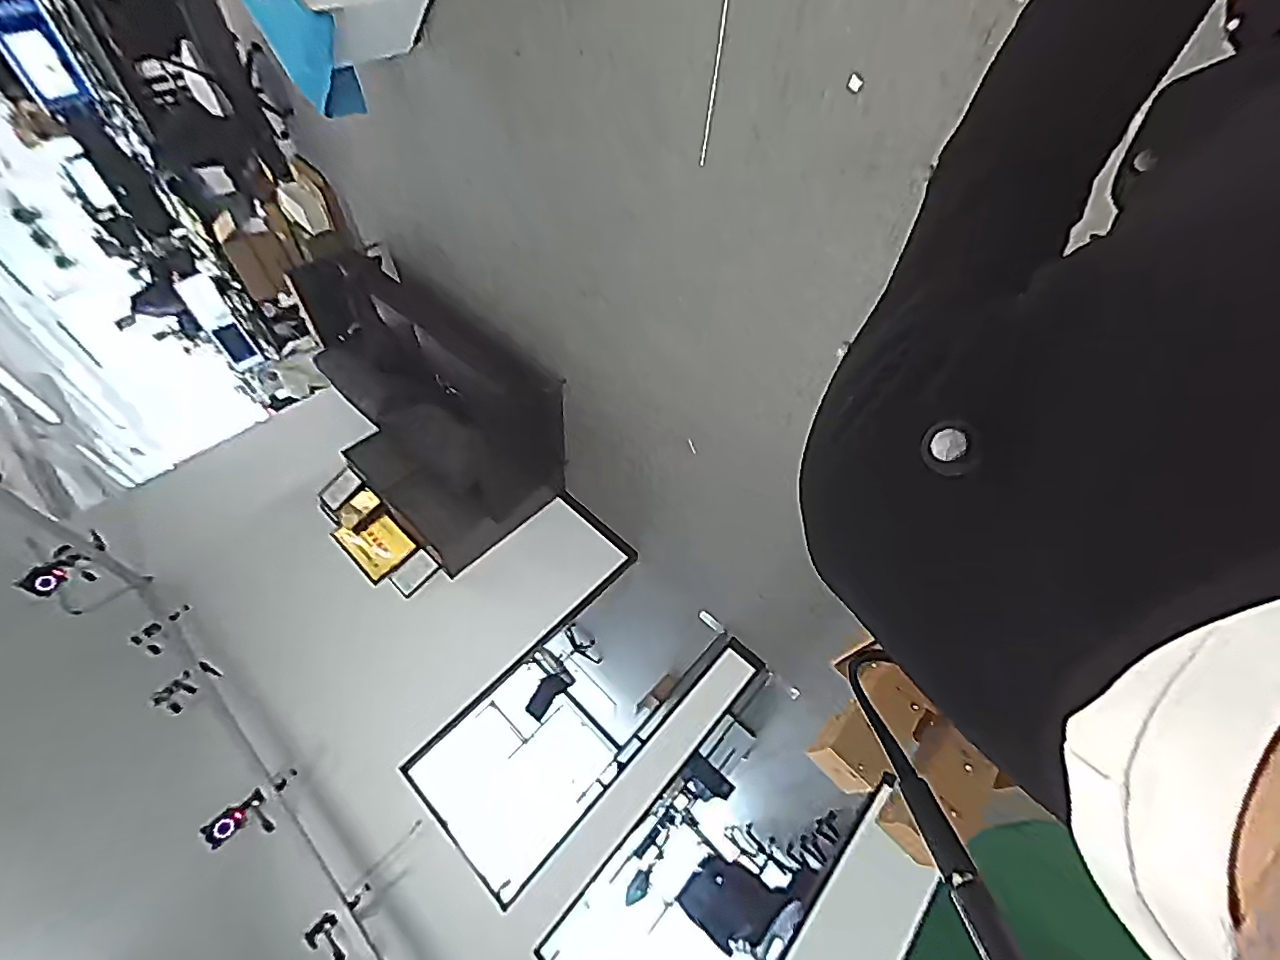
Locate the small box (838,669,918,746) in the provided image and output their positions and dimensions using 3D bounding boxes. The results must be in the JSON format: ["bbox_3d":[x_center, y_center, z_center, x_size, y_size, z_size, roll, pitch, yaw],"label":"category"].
[{"bbox_3d":[0.779,0.750,1.777,0.168,0.176,0.179,42,151,15],"label":"small box"}]

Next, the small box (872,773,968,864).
[{"bbox_3d":[0.851,1.021,1.642,0.168,0.176,0.179,41,151,16],"label":"small box"}]

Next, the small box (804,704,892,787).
[{"bbox_3d":[0.658,0.838,1.708,0.168,0.176,0.179,42,151,15],"label":"small box"}]

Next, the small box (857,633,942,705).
[{"bbox_3d":[0.891,0.658,1.854,0.168,0.176,0.179,42,150,16],"label":"small box"}]

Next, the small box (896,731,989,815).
[{"bbox_3d":[0.963,0.930,1.718,0.168,0.176,0.179,41,150,17],"label":"small box"}]
